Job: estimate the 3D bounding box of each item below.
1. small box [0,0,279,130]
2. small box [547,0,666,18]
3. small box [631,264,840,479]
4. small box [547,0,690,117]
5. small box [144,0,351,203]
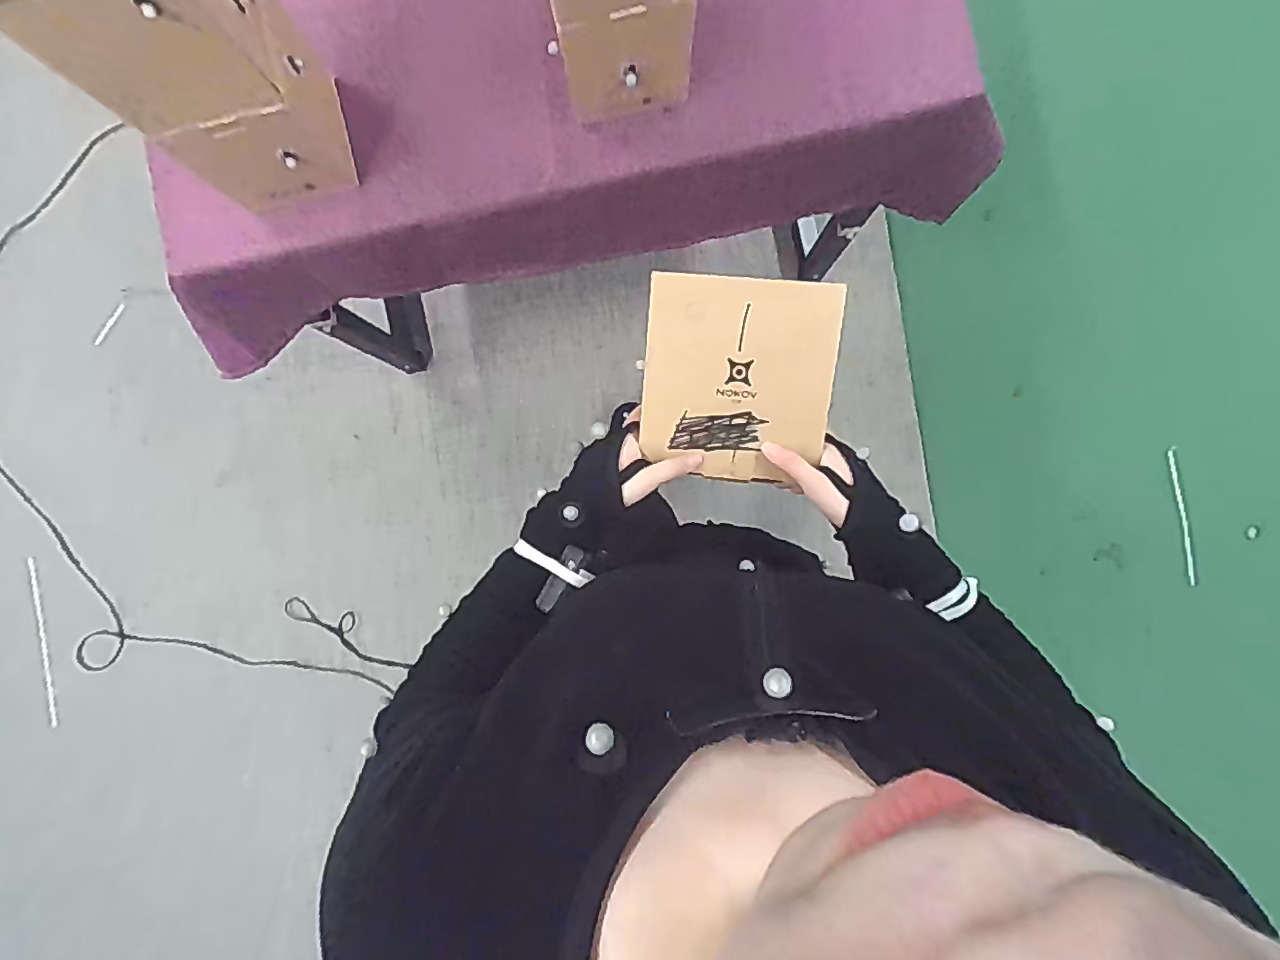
[{"bbox_3d":[-0.515,-0.496,0.544,0.179,0.176,0.168,-15,88,-1],"label":"small box"},{"bbox_3d":[-0.034,-0.615,0.537,0.179,0.176,0.168,-12,88,0],"label":"small box"},{"bbox_3d":[0.087,-0.109,0.552,0.168,0.176,0.179,6,102,3],"label":"small box"},{"bbox_3d":[-0.034,-0.611,0.703,0.168,0.176,0.179,-12,89,0],"label":"small box"},{"bbox_3d":[-0.509,-0.491,0.707,0.168,0.176,0.179,-13,88,-1],"label":"small box"}]
